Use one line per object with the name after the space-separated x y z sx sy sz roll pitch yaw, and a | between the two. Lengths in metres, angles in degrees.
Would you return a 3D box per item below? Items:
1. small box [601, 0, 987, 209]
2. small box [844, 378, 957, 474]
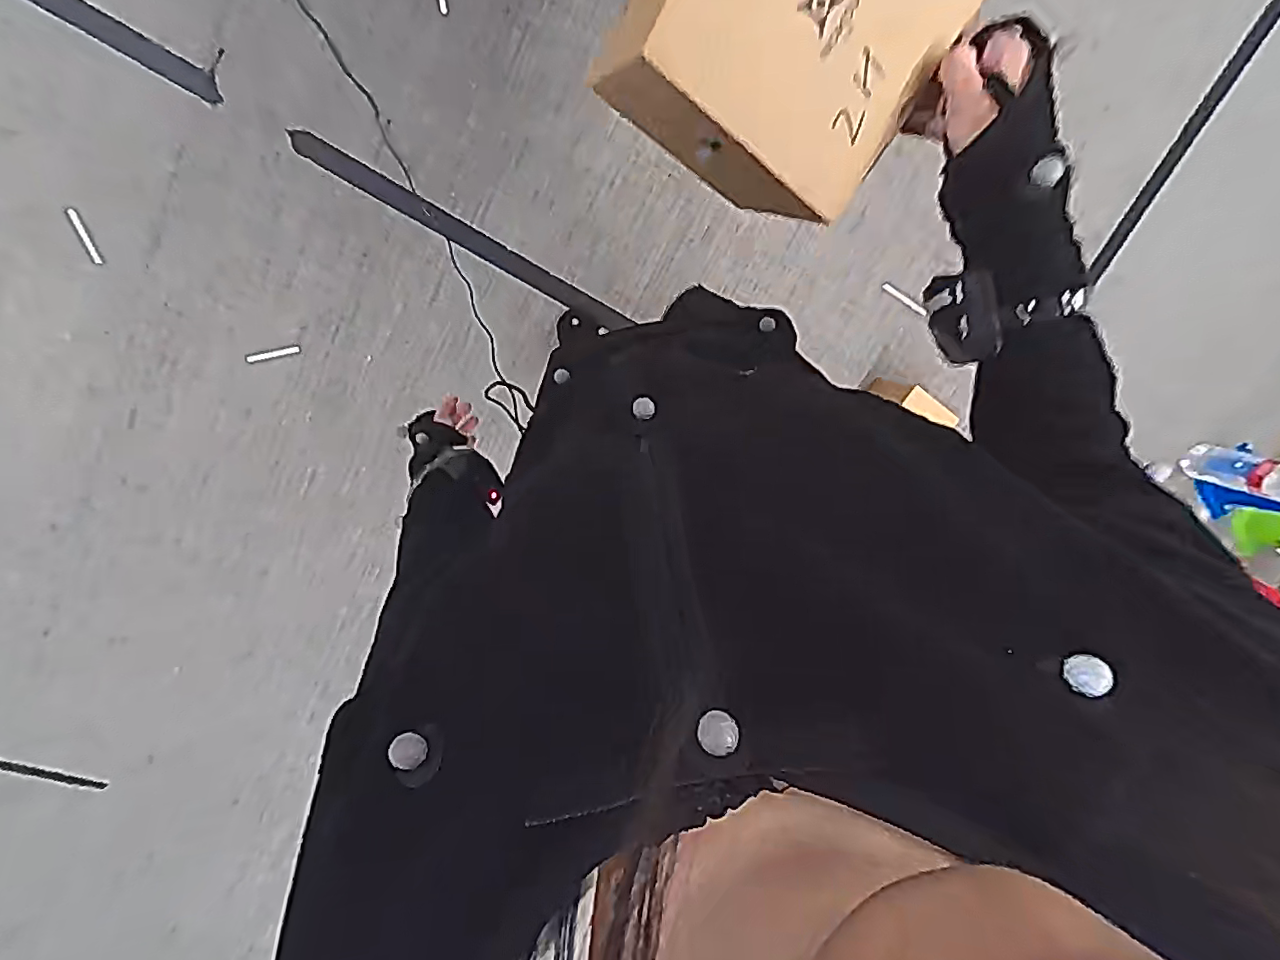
0.093 -0.319 0.381 0.179 0.176 0.168 23 110 -29 | small box
0.677 -0.149 1.427 0.168 0.176 0.179 31 102 -17 | small box
